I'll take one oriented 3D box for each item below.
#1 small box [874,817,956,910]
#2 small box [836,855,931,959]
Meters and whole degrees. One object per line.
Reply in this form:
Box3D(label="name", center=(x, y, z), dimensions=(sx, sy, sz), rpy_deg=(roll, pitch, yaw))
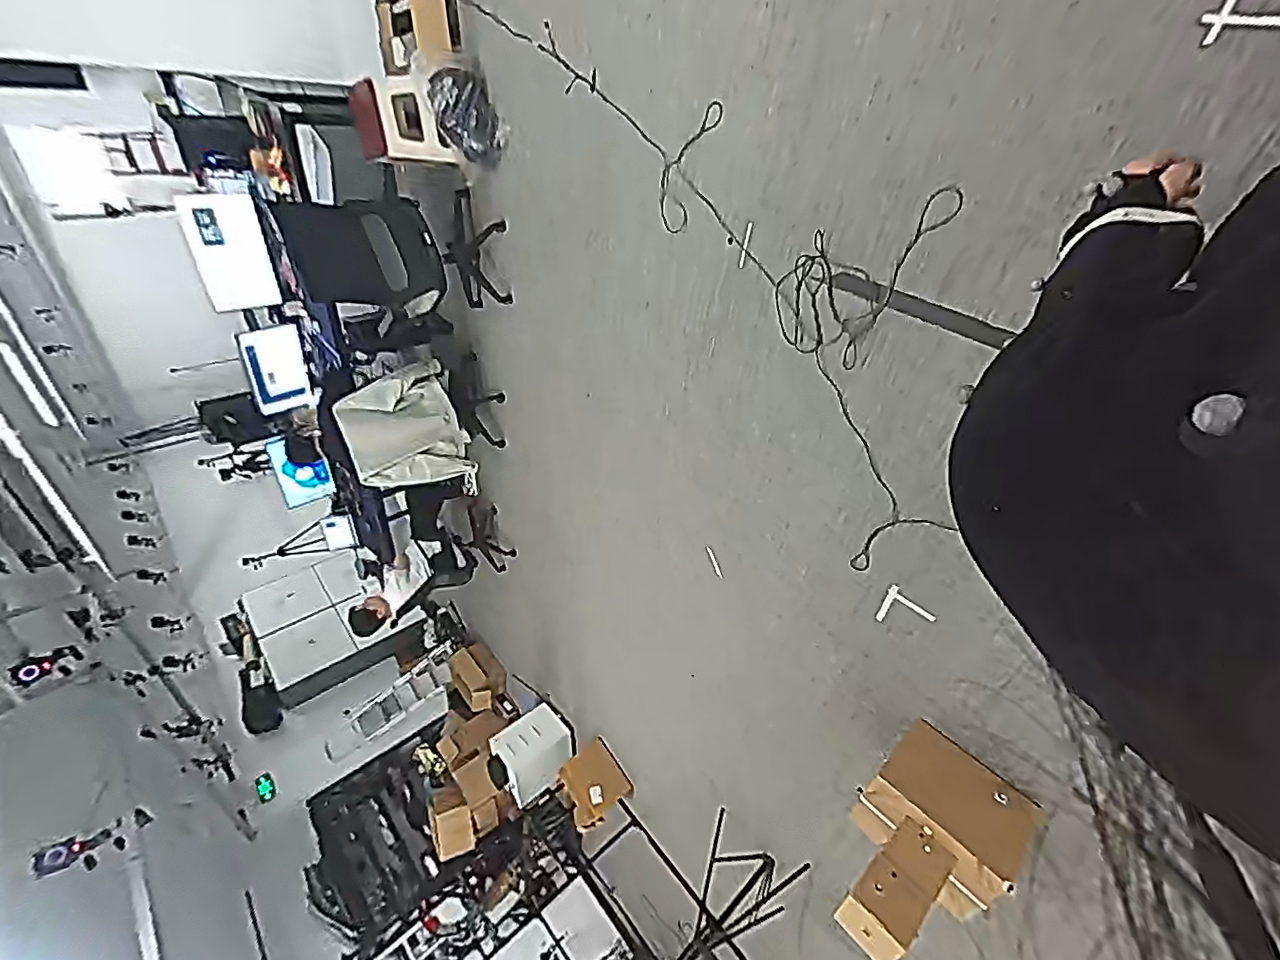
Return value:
Box3D(label="small box", center=(0.814, 1.169, 1.625), dimensions=(0.168, 0.176, 0.179), rpy_deg=(35, 134, 35))
Box3D(label="small box", center=(0.691, 1.216, 1.530), dimensions=(0.168, 0.176, 0.179), rpy_deg=(35, 135, 37))
